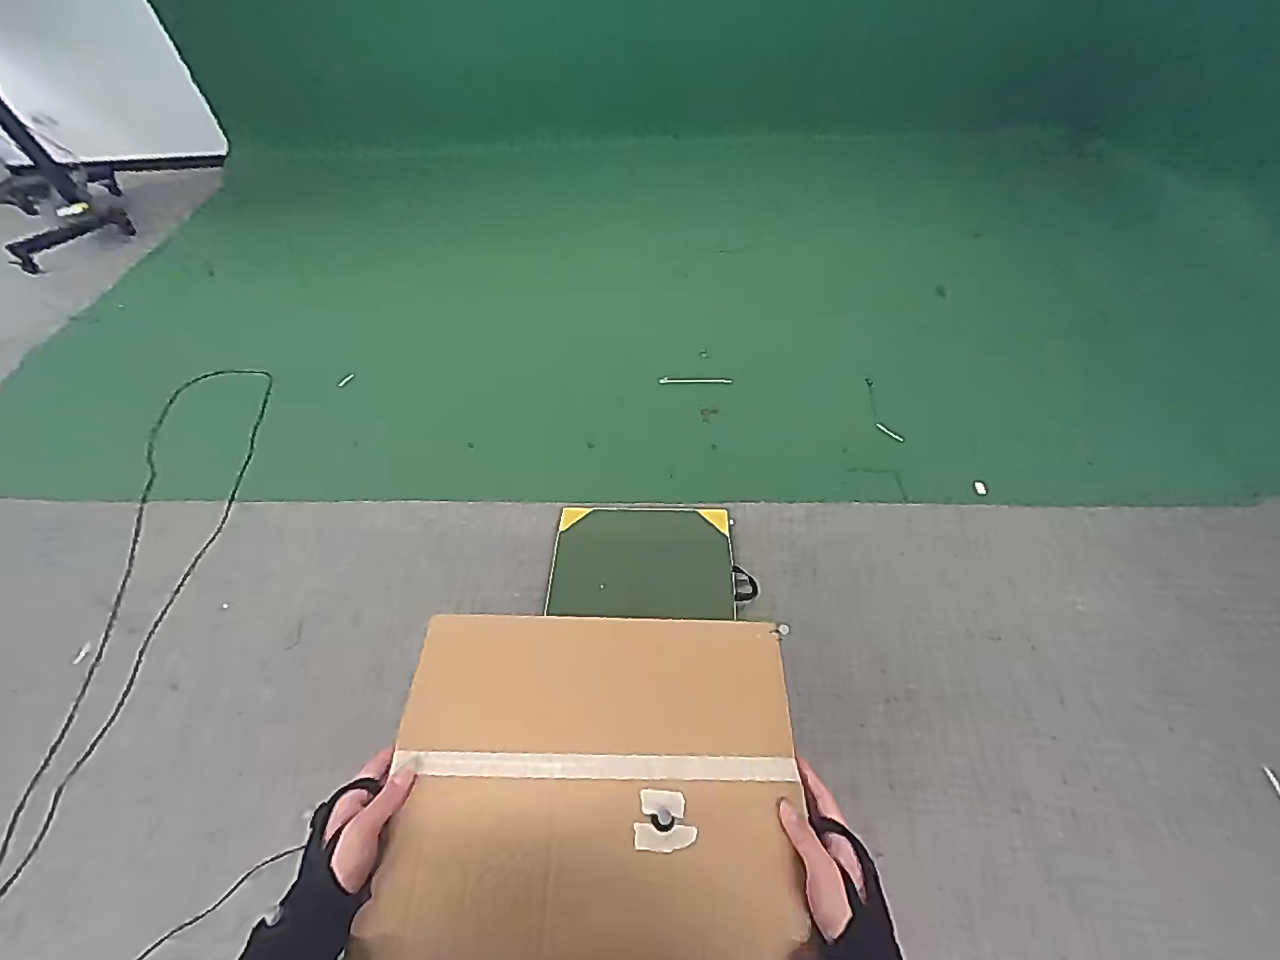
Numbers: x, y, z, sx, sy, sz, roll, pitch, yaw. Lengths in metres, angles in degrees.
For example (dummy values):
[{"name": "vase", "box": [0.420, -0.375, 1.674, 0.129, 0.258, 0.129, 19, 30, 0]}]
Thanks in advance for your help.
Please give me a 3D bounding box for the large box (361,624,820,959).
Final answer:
[{"name": "large box", "box": [-0.047, 0.387, 0.667, 0.408, 0.320, 0.320, 2, 53, -1]}]
